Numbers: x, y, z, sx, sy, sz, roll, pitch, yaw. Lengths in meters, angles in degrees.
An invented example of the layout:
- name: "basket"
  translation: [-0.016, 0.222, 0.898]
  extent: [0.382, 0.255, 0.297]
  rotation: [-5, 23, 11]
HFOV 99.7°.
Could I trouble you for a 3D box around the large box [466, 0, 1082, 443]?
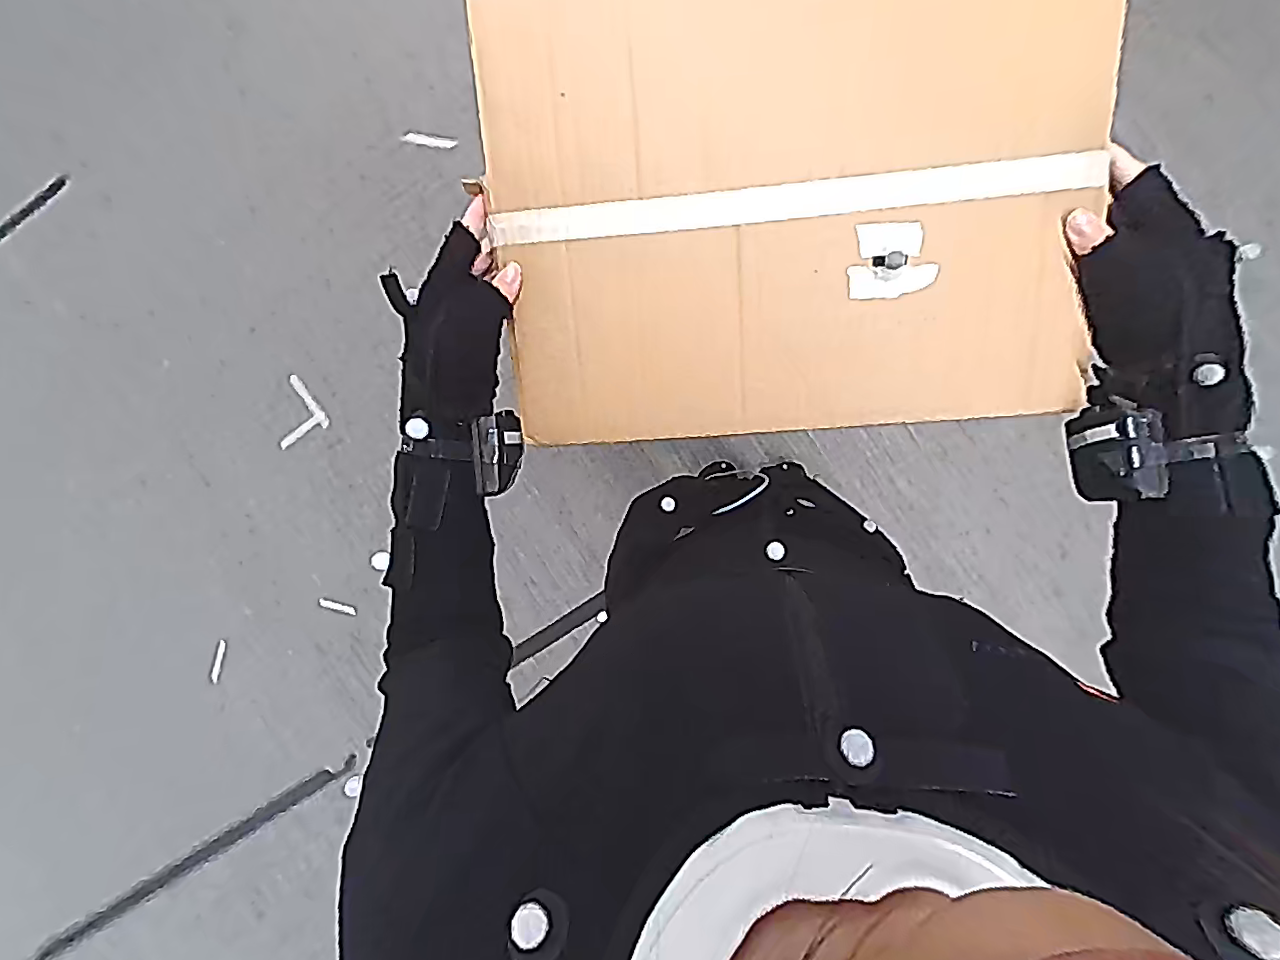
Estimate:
- name: "large box"
  translation: [0.099, -0.230, 0.525]
  extent: [0.408, 0.320, 0.320]
  rotation: [-5, 104, 3]
